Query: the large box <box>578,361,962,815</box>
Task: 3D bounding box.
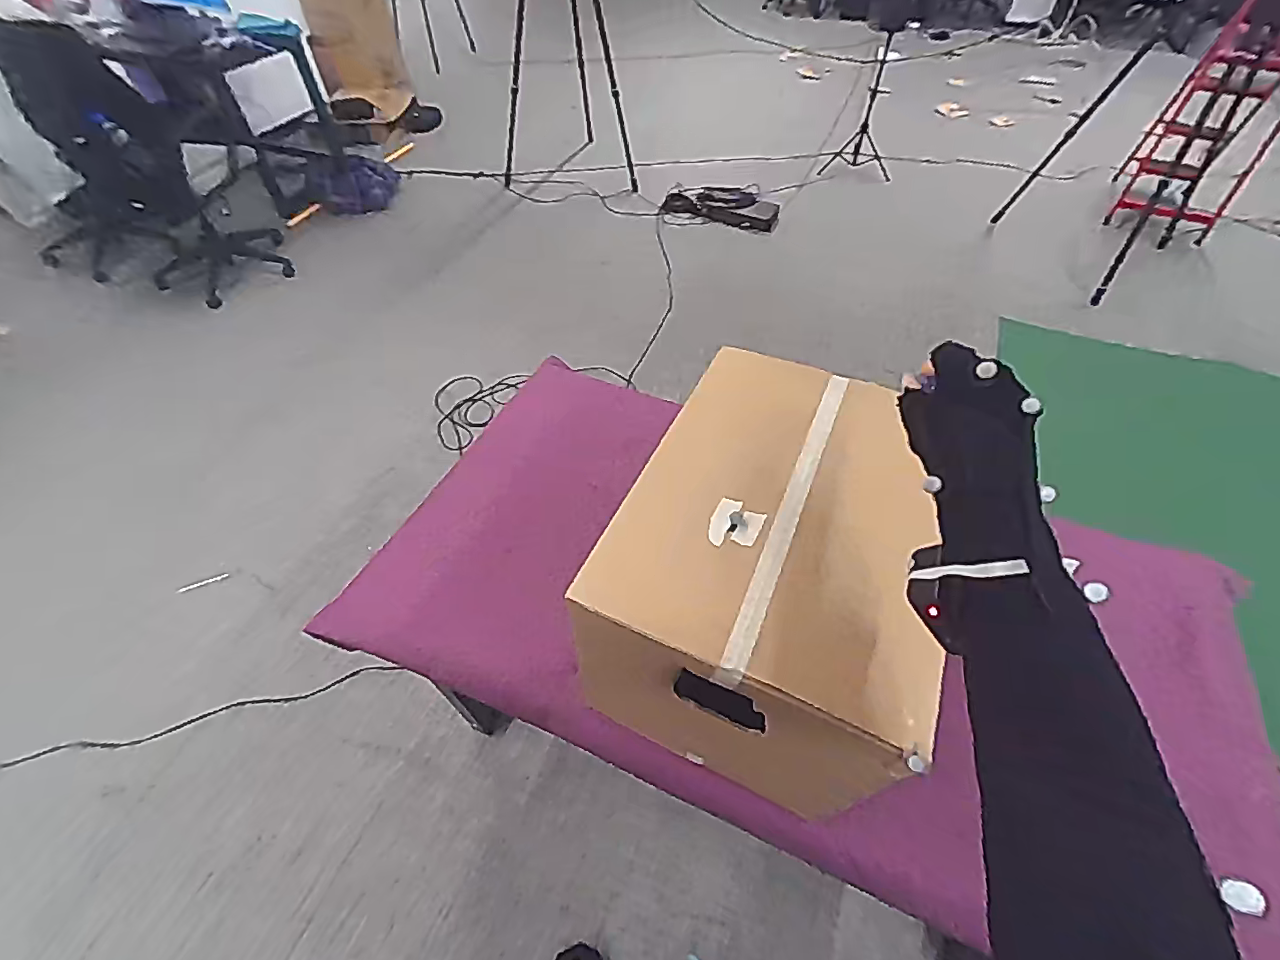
[{"bbox_3d":[0.159,0.124,0.684,0.320,0.320,0.408,21,54,16],"label":"large box"}]
